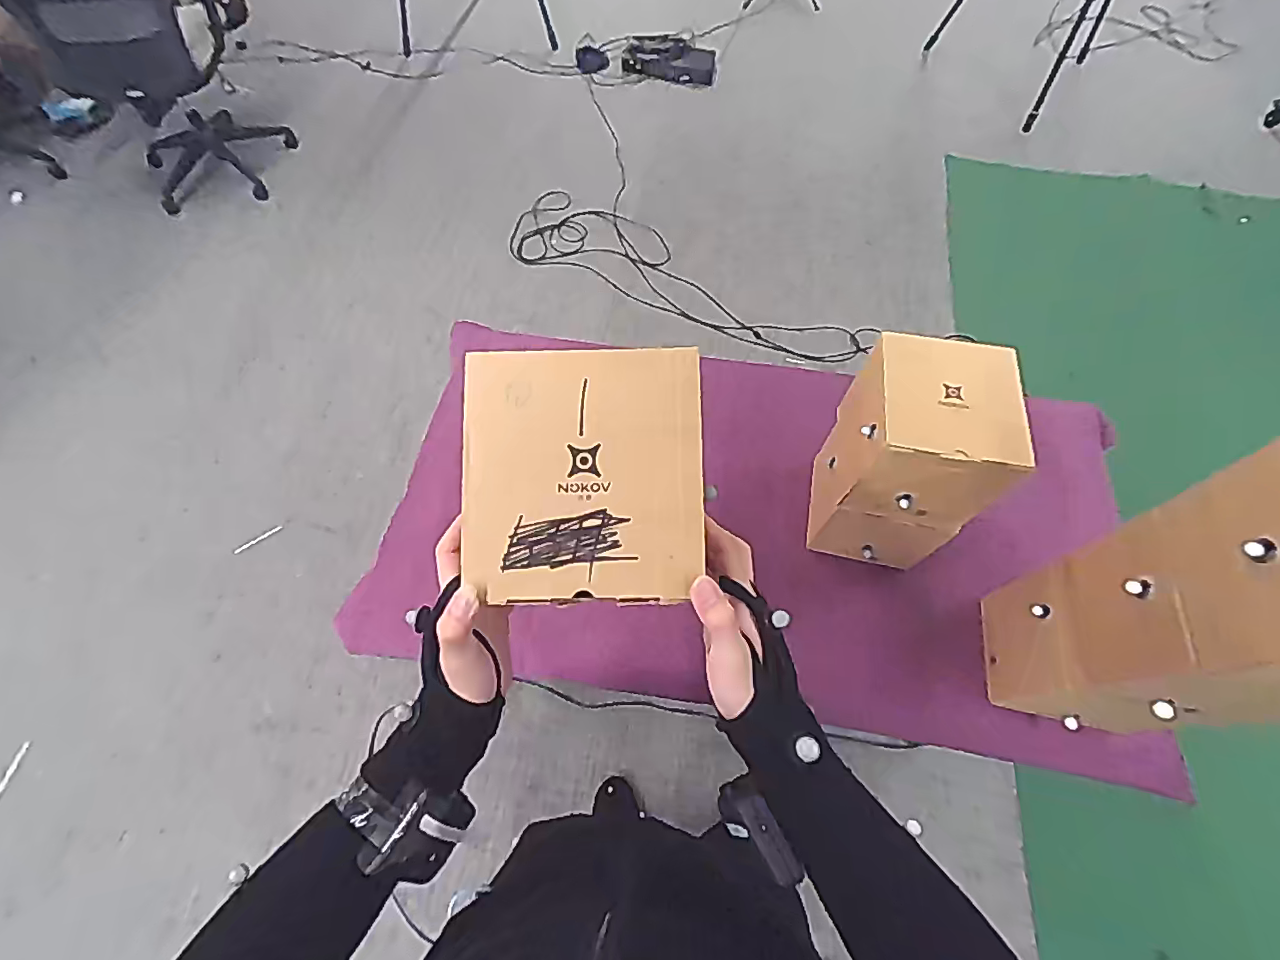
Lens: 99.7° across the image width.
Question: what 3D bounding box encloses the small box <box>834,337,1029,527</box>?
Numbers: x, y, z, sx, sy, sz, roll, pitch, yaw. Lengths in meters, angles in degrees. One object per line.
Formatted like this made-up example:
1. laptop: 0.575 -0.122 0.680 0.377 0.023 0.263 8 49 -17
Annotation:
1. small box: 0.367 -0.057 0.716 0.168 0.176 0.179 9 64 4

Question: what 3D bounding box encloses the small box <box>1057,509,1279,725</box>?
1. small box: 0.609 0.158 0.603 0.168 0.176 0.179 11 62 7

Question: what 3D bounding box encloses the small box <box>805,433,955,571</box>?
1. small box: 0.371 0.024 0.857 0.168 0.176 0.179 12 63 6

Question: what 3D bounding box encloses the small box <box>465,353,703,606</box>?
1. small box: -0.036 0.005 0.451 0.168 0.176 0.179 -1 83 0

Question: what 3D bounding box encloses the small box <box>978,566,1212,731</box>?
1. small box: 0.605 0.239 0.746 0.179 0.176 0.168 12 62 6
